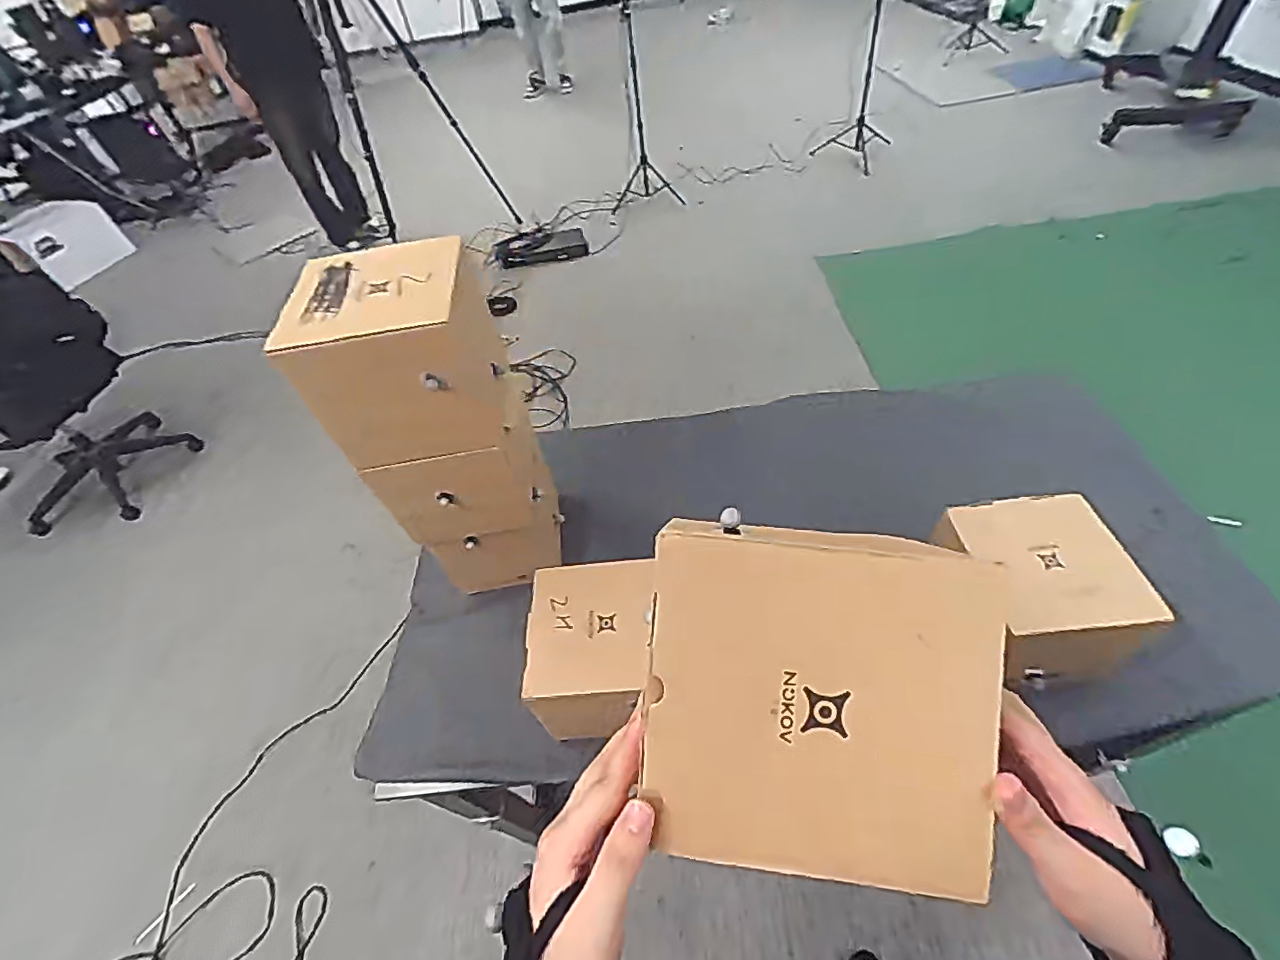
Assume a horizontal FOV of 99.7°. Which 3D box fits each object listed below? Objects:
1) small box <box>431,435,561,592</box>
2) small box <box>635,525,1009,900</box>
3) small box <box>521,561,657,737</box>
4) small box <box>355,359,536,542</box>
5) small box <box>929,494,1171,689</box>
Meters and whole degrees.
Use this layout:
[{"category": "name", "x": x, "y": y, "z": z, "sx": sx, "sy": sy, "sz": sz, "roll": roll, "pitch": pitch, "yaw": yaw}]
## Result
[{"category": "small box", "x": -0.227, "y": 0.055, "z": 0.871, "sx": 0.168, "sy": 0.176, "sz": 0.179, "roll": -10, "pitch": 50, "yaw": 0}, {"category": "small box", "x": 0.097, "y": 0.119, "z": 0.351, "sx": 0.179, "sy": 0.176, "sz": 0.168, "roll": 4, "pitch": 88, "yaw": 7}, {"category": "small box", "x": -0.038, "y": 0.222, "z": 0.700, "sx": 0.179, "sy": 0.176, "sz": 0.168, "roll": -6, "pitch": 50, "yaw": 5}, {"category": "small box", "x": -0.245, "y": -0.036, "z": 0.734, "sx": 0.179, "sy": 0.176, "sz": 0.168, "roll": -10, "pitch": 51, "yaw": 1}, {"category": "small box", "x": 0.476, "y": 0.143, "z": 0.679, "sx": 0.168, "sy": 0.176, "sz": 0.179, "roll": -8, "pitch": 49, "yaw": 4}]
